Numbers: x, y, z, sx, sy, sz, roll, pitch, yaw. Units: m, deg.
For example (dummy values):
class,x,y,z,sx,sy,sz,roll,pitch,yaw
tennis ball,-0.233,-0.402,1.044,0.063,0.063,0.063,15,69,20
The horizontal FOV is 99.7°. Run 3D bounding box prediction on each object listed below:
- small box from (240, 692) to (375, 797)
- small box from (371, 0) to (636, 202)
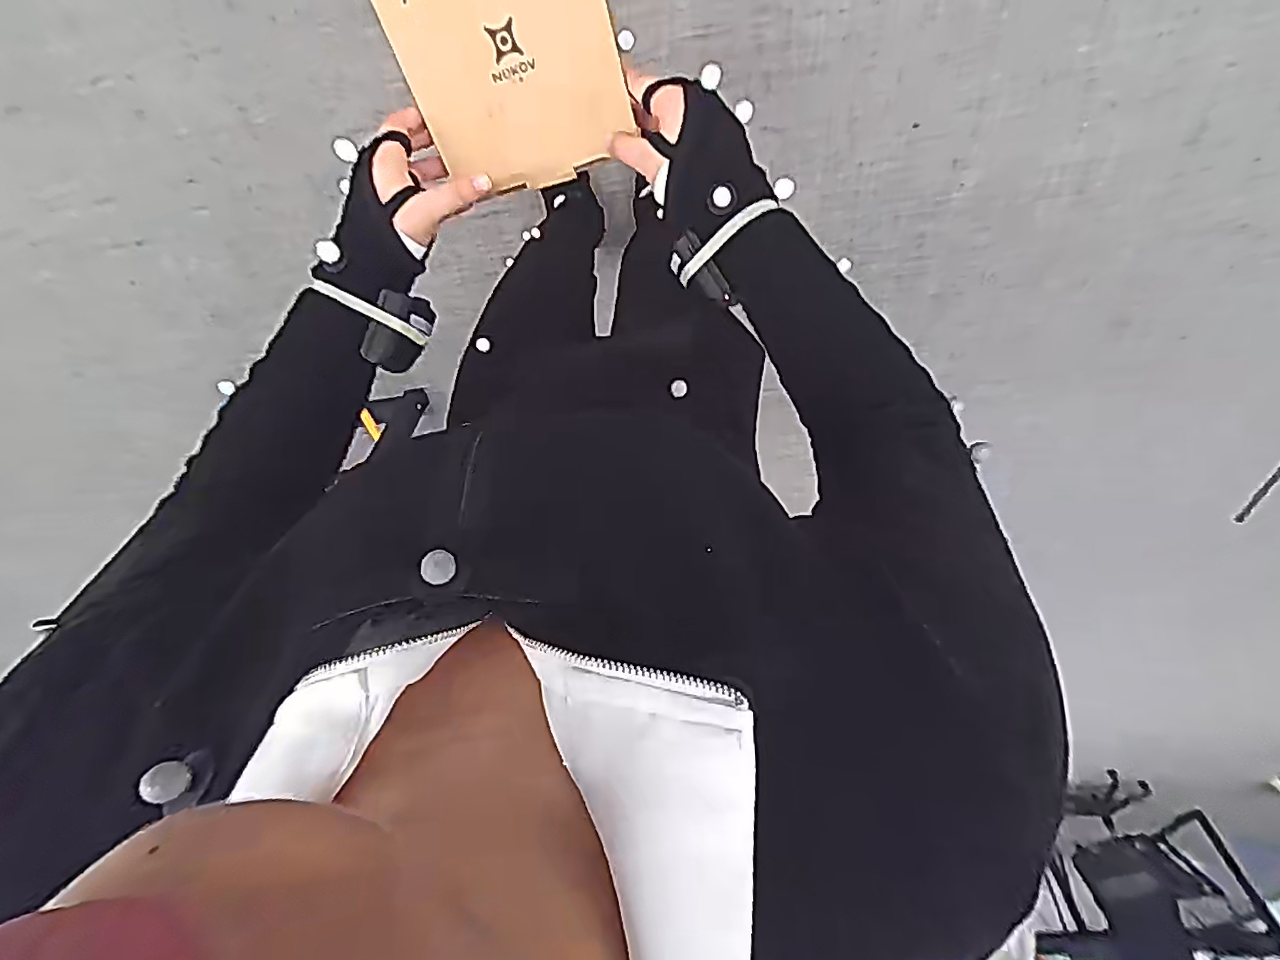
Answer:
class,x,y,z,sx,sy,sz,roll,pitch,yaw
small box,-0.741,0.601,1.231,0.168,0.176,0.179,-5,132,6
small box,-0.101,-0.374,0.470,0.168,0.176,0.179,-11,129,10
